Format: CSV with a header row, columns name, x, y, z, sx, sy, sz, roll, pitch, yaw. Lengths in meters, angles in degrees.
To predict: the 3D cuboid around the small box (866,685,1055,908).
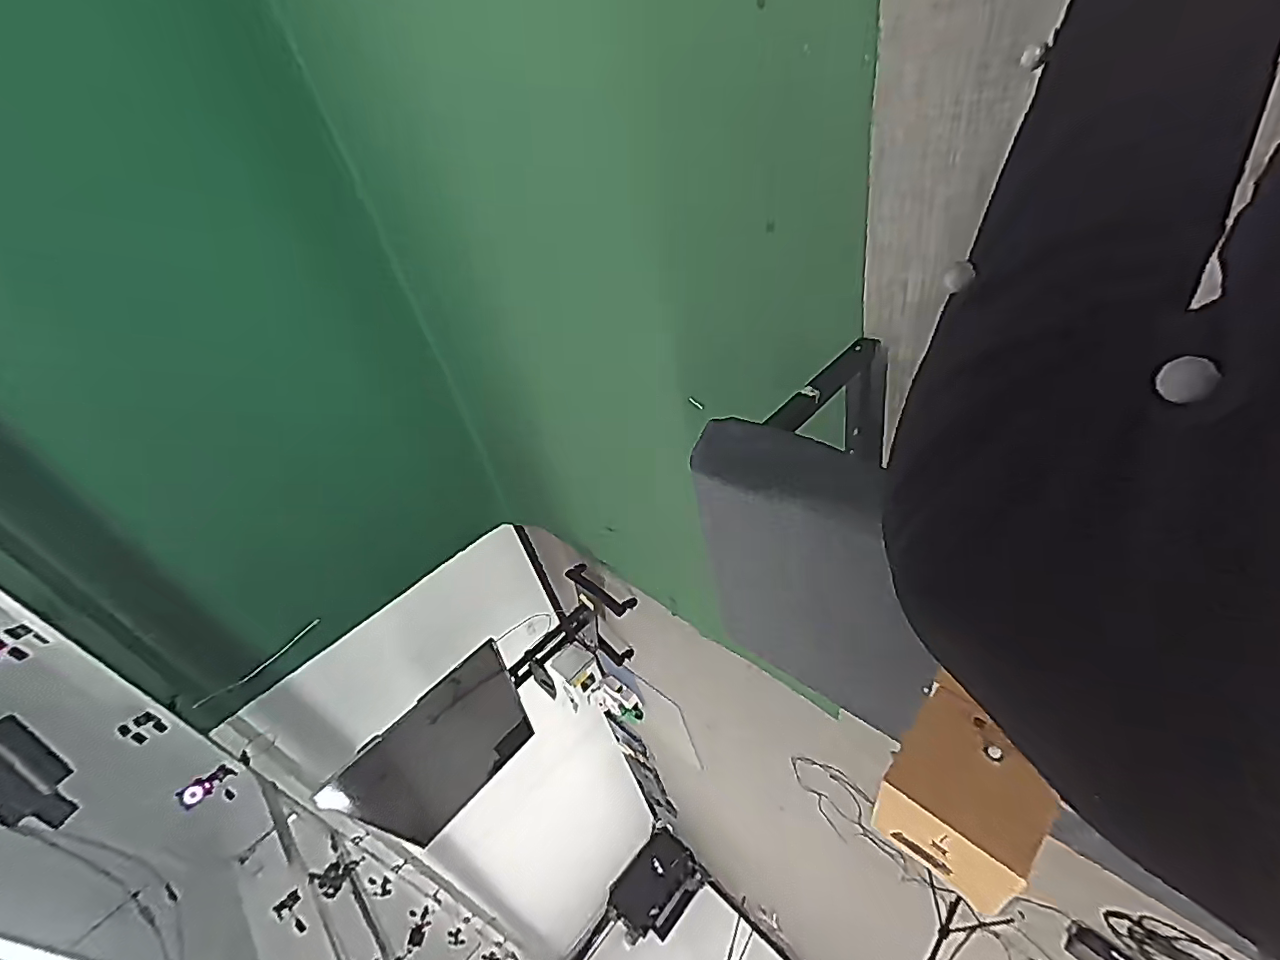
name,x,y,z,sx,sy,sz,roll,pitch,yaw
small box,0.432,0.425,0.743,0.168,0.176,0.179,26,145,41
